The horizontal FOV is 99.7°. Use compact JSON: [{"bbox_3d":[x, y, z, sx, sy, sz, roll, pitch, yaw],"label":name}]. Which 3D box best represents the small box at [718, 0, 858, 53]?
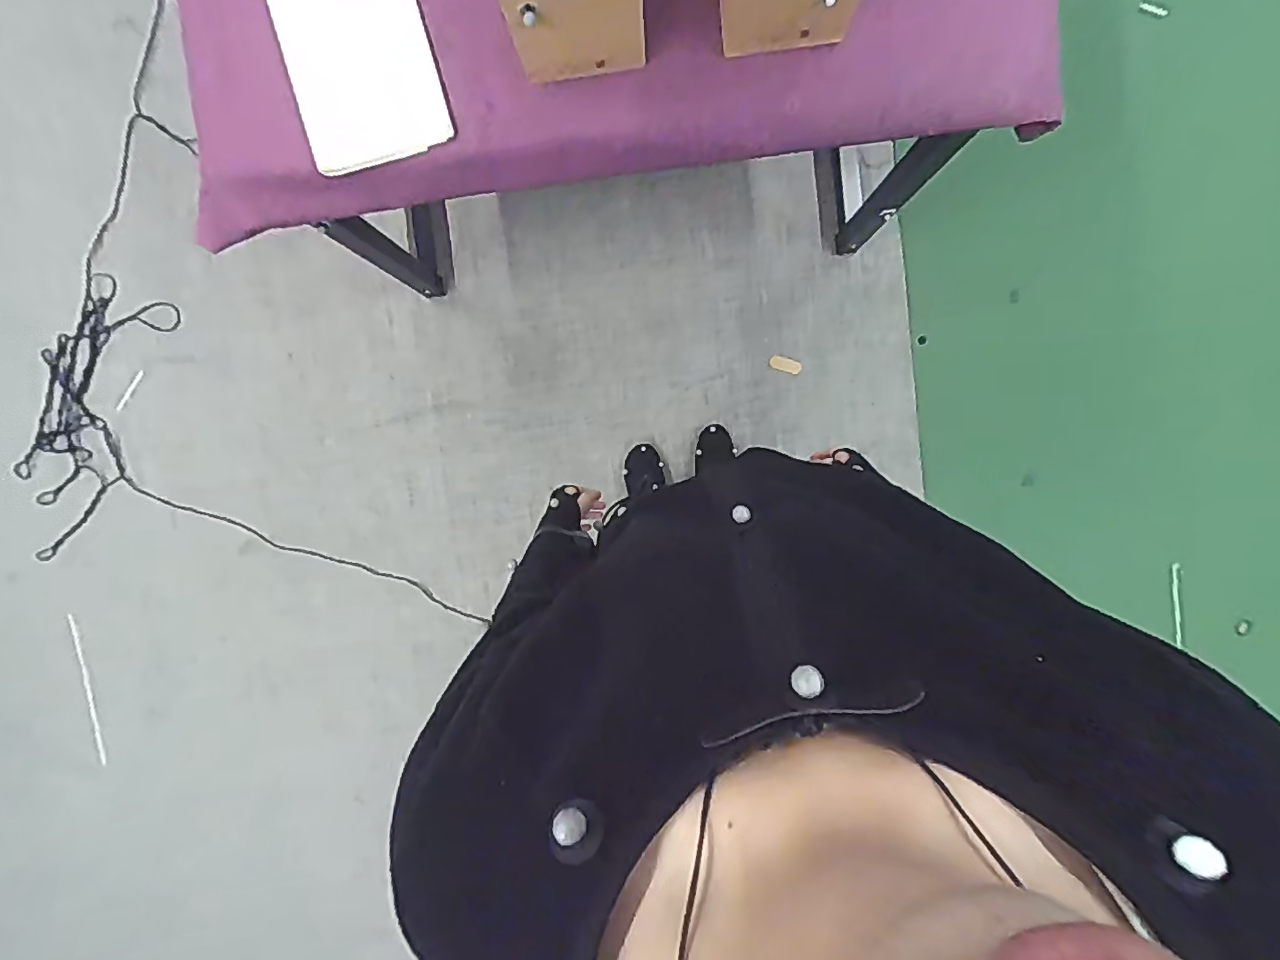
[{"bbox_3d":[0.188,-0.668,0.665,0.168,0.176,0.179,-5,91,2],"label":"small box"}]
